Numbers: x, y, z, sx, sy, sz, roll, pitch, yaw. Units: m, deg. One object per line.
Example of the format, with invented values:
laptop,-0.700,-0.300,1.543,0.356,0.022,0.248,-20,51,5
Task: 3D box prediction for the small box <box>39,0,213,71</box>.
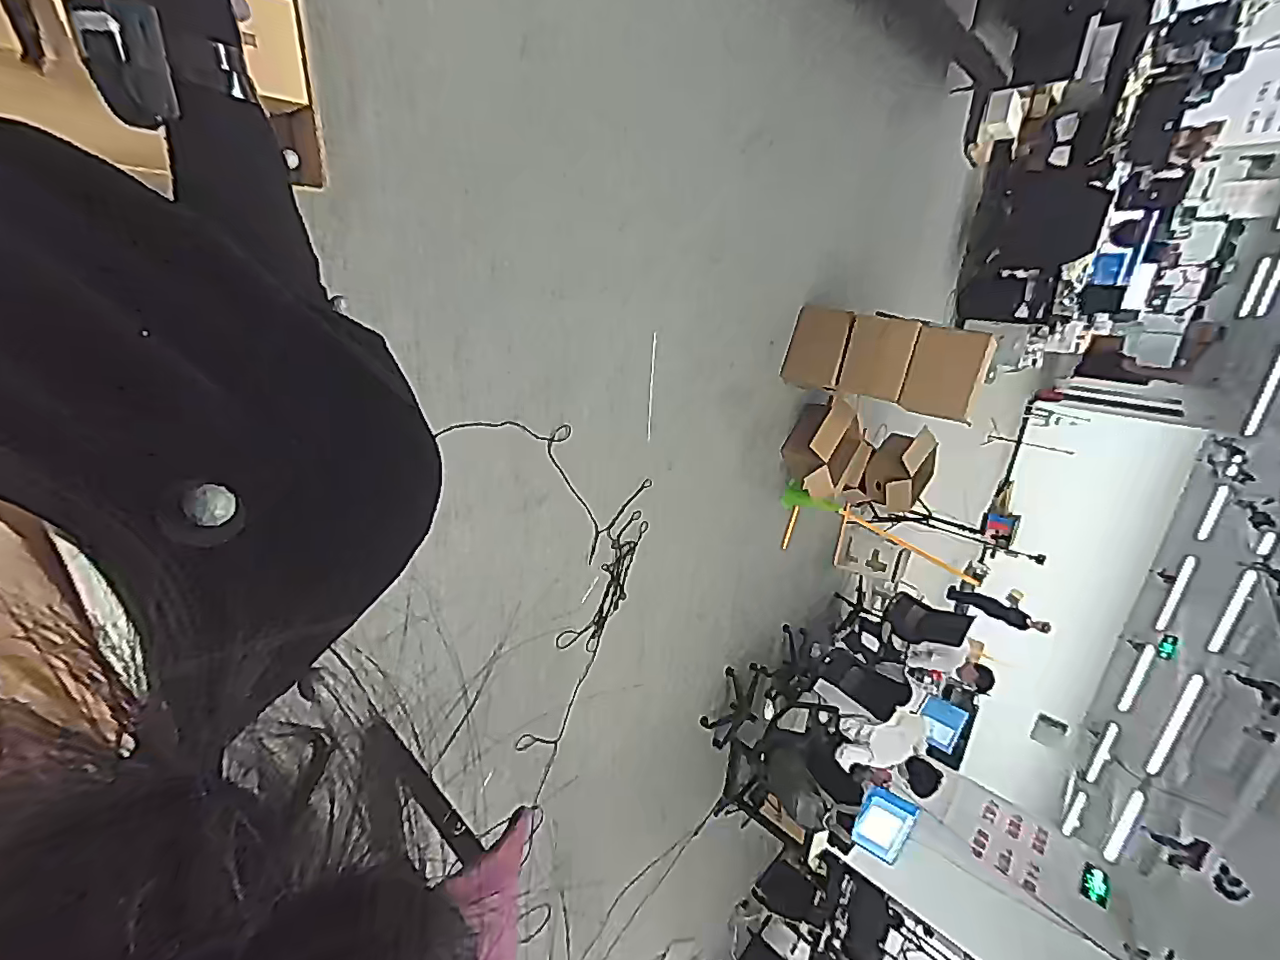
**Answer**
small box,-0.759,-0.718,0.774,0.168,0.176,0.179,-27,126,-39
